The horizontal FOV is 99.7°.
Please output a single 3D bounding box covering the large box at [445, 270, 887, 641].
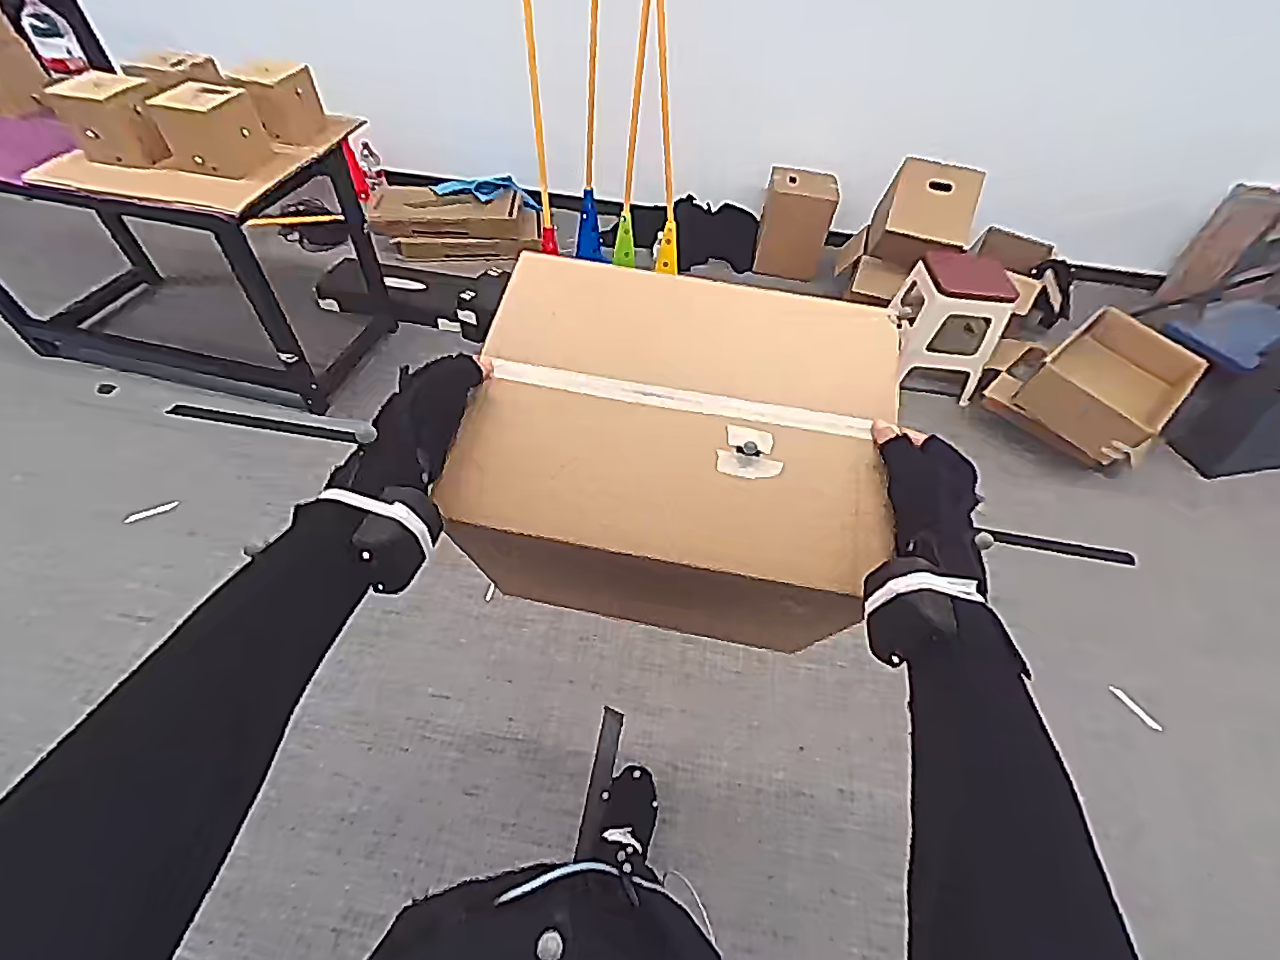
[{"bbox_3d":[0.037,-0.008,0.670,0.408,0.320,0.320,10,66,3],"label":"large box"}]
